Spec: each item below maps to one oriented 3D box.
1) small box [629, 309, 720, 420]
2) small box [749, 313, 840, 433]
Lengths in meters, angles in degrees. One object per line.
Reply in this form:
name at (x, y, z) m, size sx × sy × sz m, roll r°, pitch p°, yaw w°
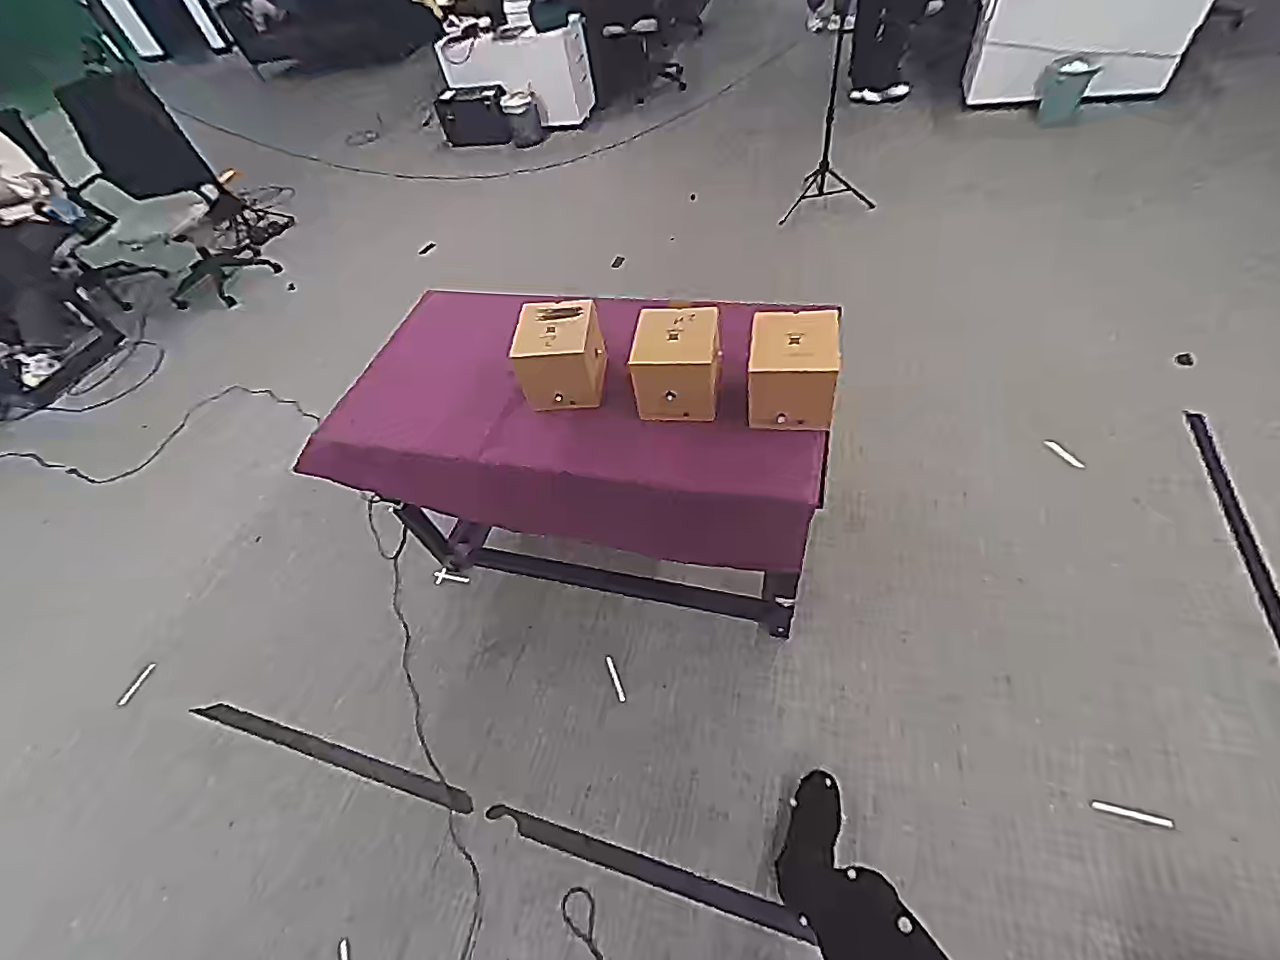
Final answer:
small box at (0.083, -0.245, 1.168) m, size 0.168 × 0.176 × 0.179 m, roll 3°, pitch 54°, yaw 12°
small box at (0.313, -0.219, 1.105) m, size 0.168 × 0.176 × 0.179 m, roll 3°, pitch 53°, yaw 15°
